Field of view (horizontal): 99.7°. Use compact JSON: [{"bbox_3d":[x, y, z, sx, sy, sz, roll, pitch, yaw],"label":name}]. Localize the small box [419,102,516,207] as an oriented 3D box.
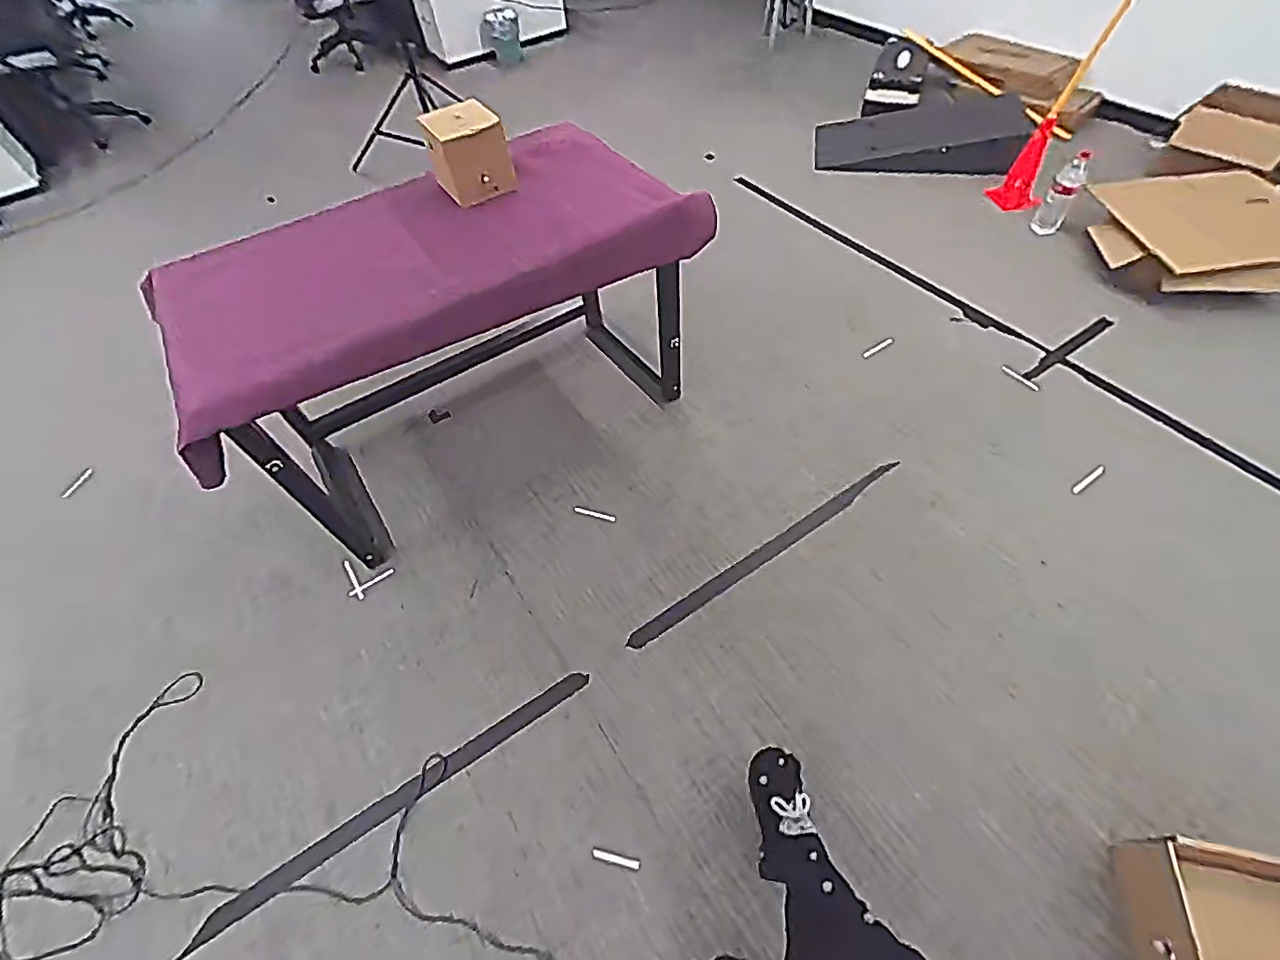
[{"bbox_3d":[-0.450,-0.854,1.426,0.168,0.176,0.179,-31,60,-16],"label":"small box"}]
